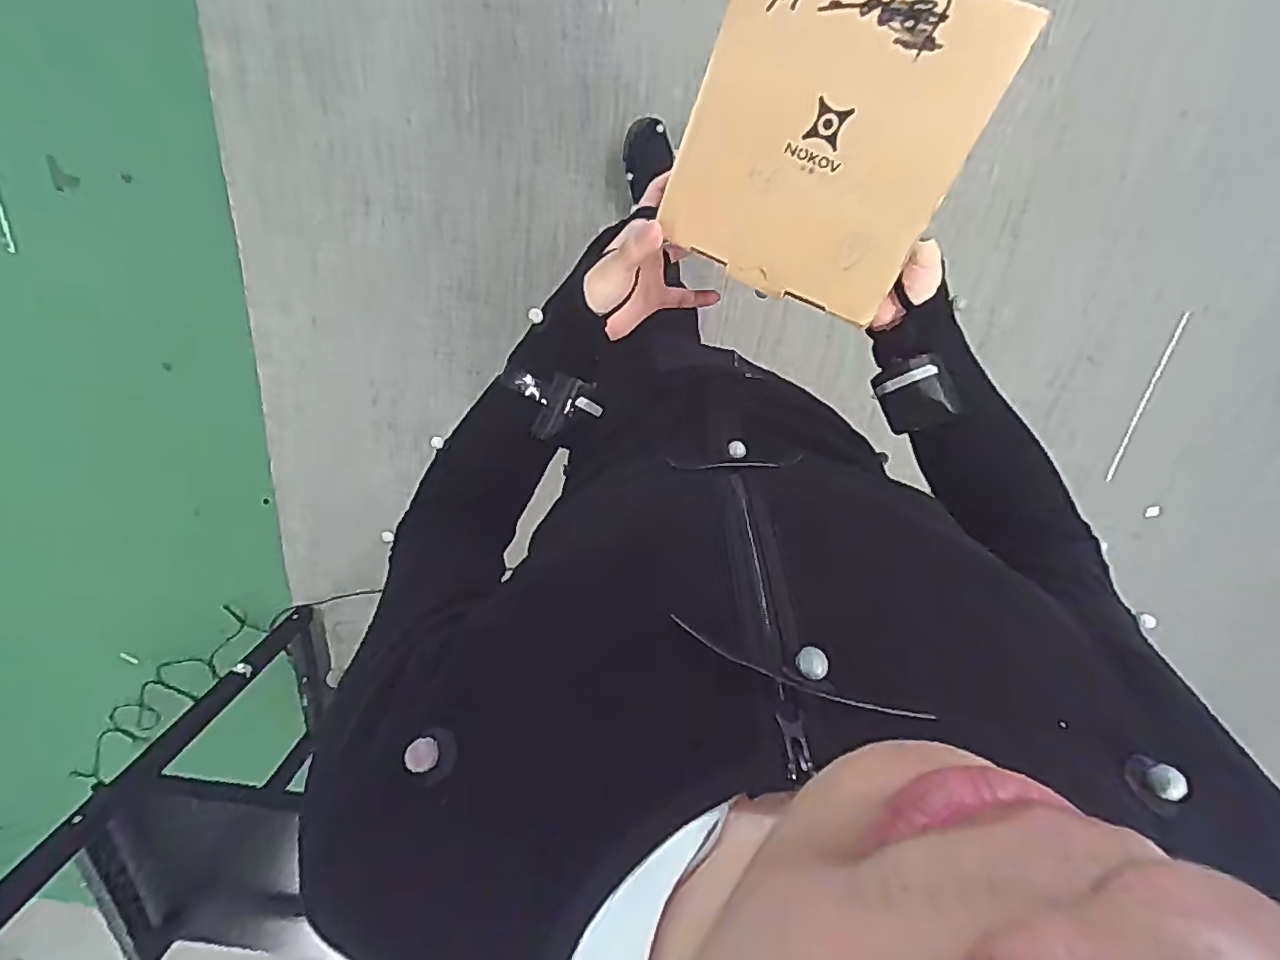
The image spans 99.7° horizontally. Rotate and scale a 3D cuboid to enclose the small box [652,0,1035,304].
[{"bbox_3d":[0.134,-0.251,0.397,0.168,0.176,0.179,27,119,8],"label":"small box"}]
